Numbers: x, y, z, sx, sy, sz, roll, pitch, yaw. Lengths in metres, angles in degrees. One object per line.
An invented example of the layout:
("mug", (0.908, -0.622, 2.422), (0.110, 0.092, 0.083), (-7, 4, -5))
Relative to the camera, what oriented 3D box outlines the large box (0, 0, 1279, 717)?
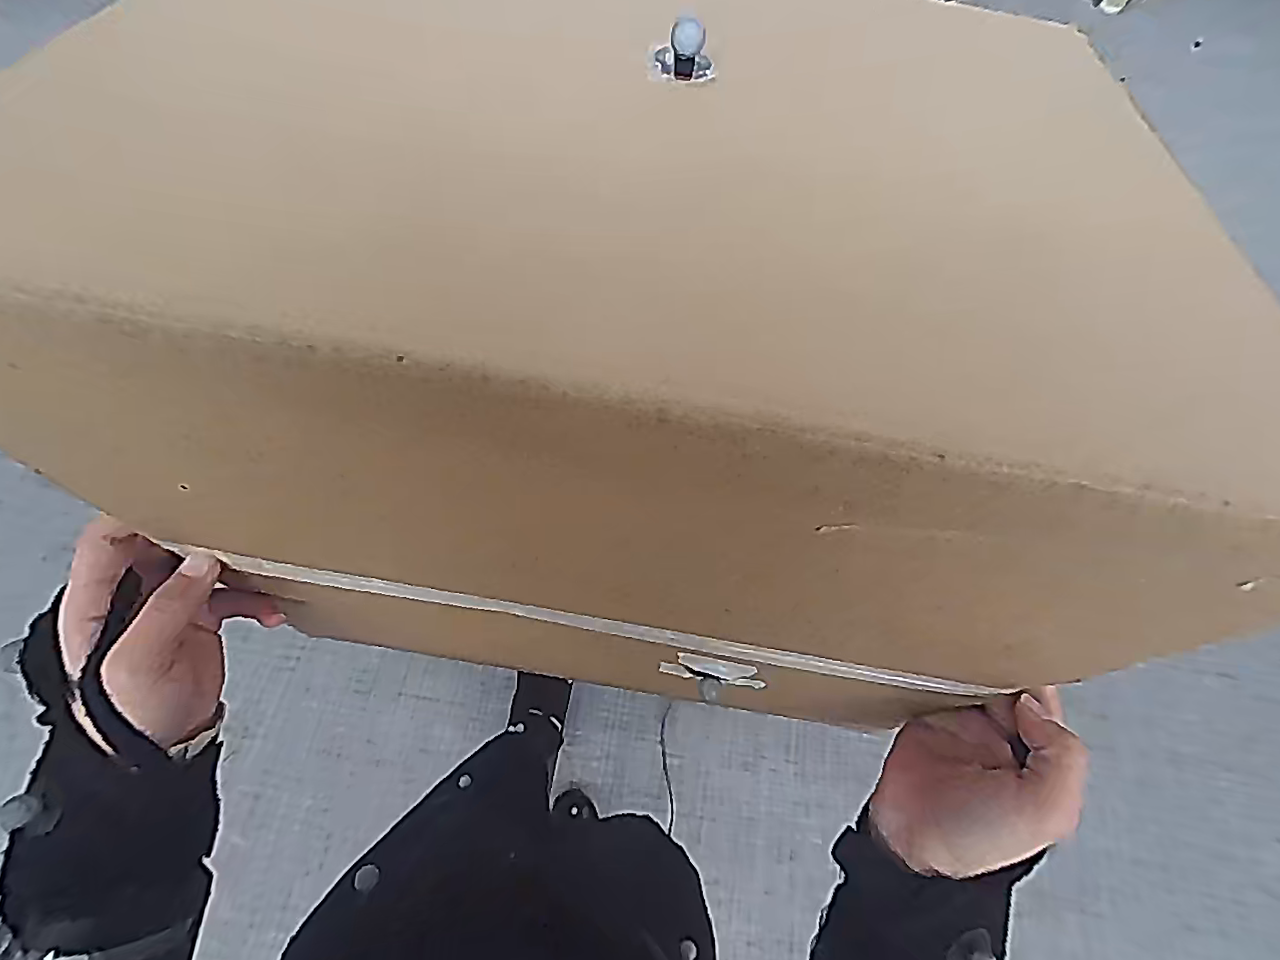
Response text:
("large box", (-0.003, -0.066, 0.343), (0.408, 0.320, 0.320), (9, 59, -1))
